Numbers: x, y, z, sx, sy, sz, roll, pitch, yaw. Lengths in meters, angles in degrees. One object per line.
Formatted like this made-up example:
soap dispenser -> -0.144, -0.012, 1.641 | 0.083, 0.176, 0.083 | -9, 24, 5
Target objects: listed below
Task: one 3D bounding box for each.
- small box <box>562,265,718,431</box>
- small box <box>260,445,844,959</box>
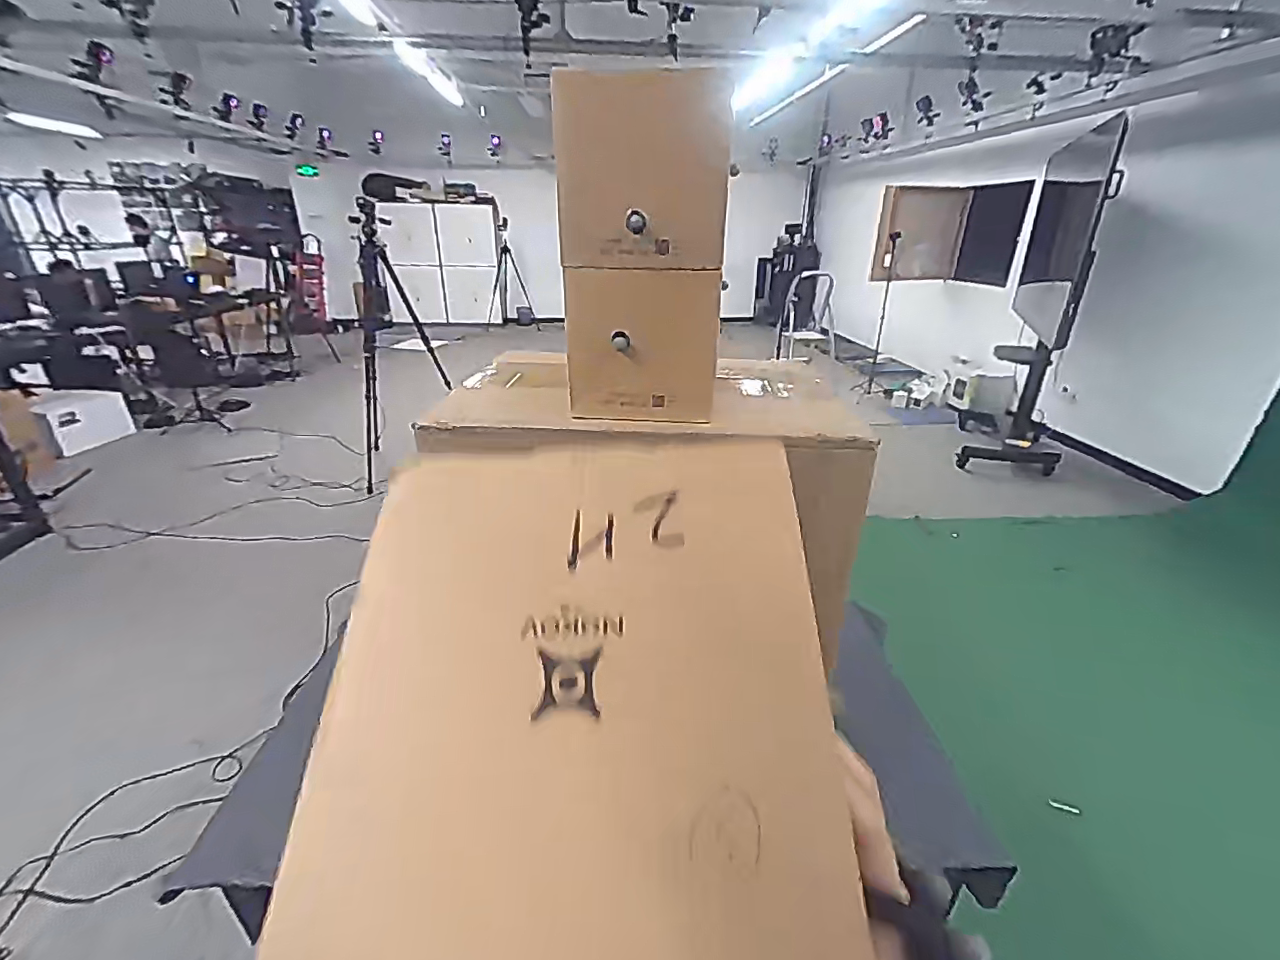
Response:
small box -> 0.008, -0.166, 0.662 | 0.168, 0.176, 0.179 | 3, 26, 4
small box -> -0.019, 0.104, 0.256 | 0.168, 0.176, 0.179 | -2, 58, 3
